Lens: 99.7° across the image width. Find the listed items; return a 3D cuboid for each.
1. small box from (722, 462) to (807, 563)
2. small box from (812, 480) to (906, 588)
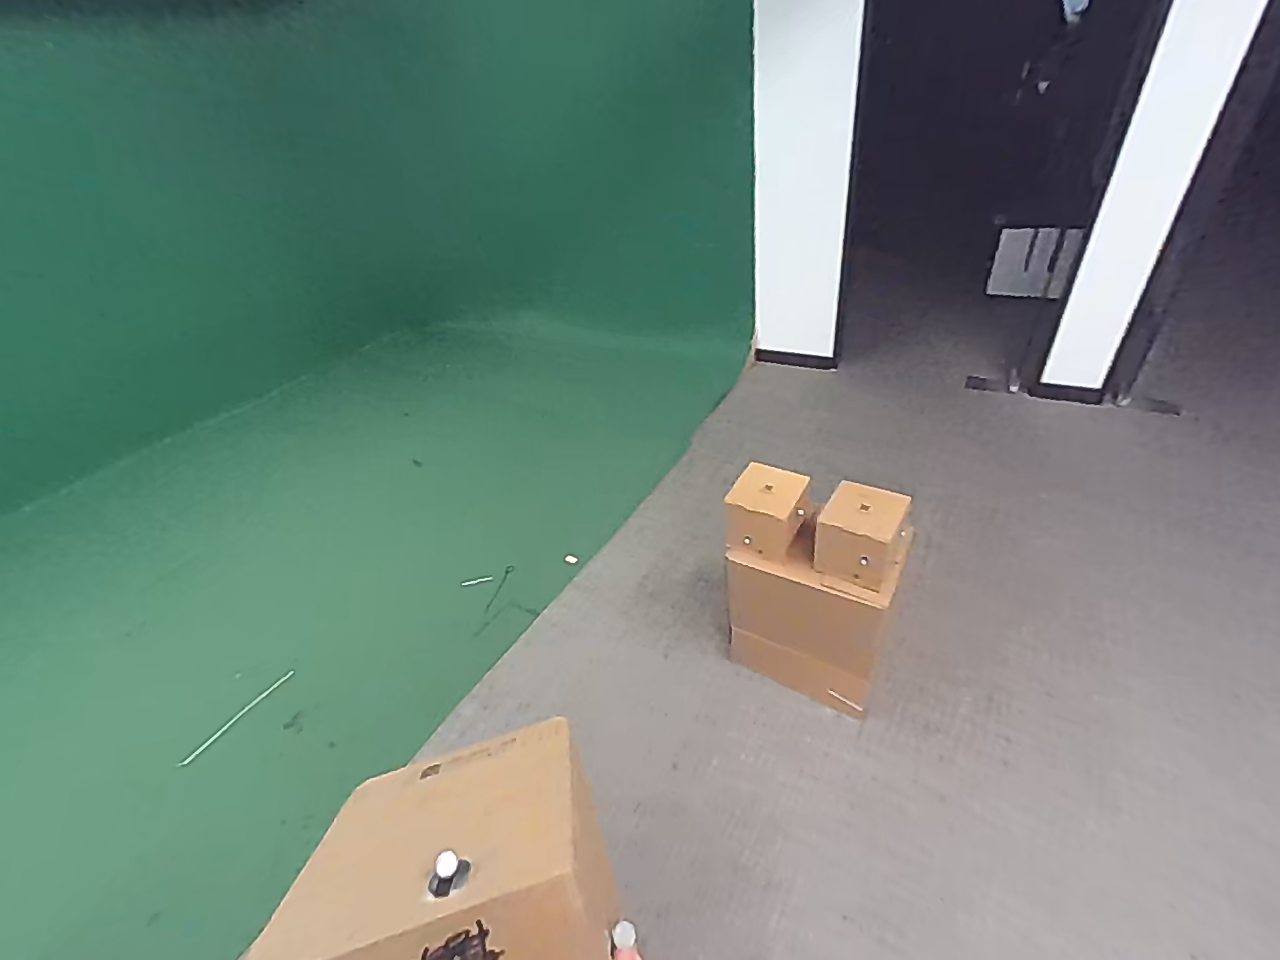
[{"bbox_3d":[0.327,0.085,1.430,0.168,0.176,0.179,17,47,28],"label":"small box"},{"bbox_3d":[0.532,0.132,1.321,0.168,0.176,0.179,17,44,33],"label":"small box"}]
